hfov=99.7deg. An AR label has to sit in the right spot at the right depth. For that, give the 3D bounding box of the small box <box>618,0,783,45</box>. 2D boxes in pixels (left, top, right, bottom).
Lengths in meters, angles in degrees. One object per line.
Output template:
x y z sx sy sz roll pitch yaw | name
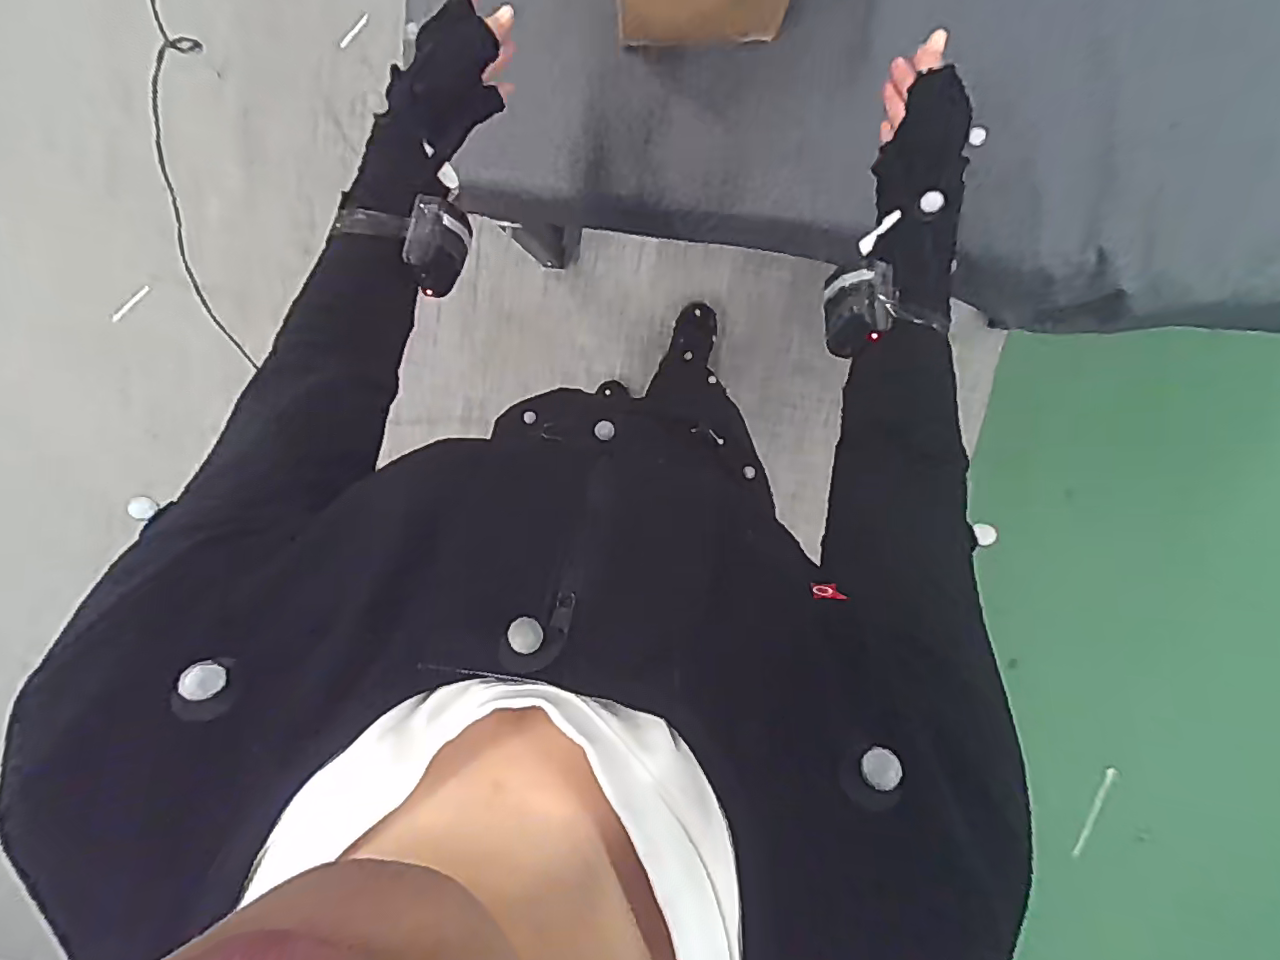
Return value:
0.062 -0.557 0.521 0.179 0.176 0.168 -2 104 0 | small box
